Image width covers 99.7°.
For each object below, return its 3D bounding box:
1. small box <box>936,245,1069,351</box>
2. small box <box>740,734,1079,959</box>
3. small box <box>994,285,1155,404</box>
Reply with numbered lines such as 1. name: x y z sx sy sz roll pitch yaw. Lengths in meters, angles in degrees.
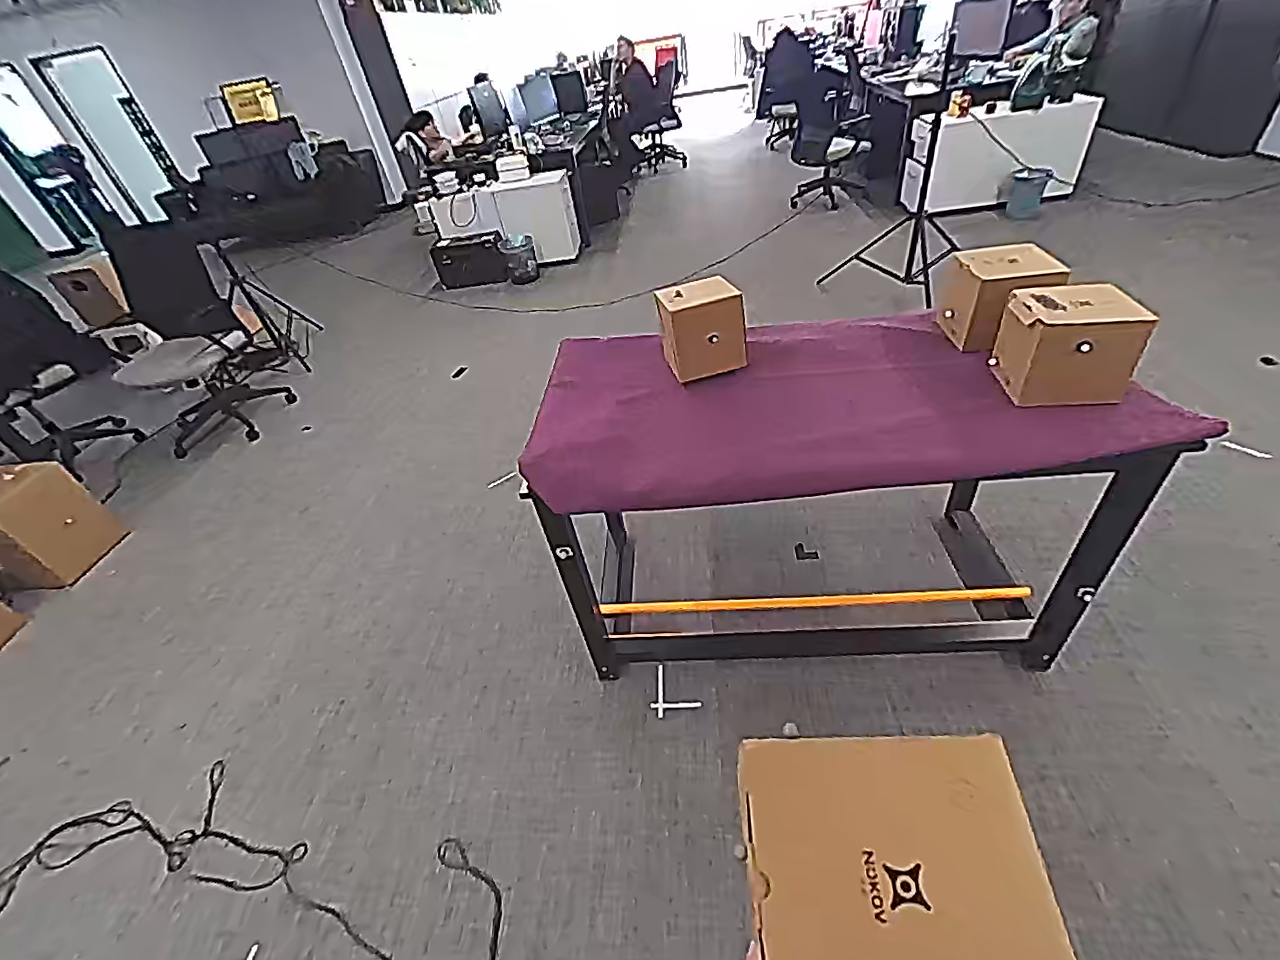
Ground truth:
1. small box: 0.801 -0.408 1.218 0.179 0.176 0.168 -4 41 7
2. small box: 0.170 0.287 0.396 0.179 0.176 0.168 -6 57 7
3. small box: 0.810 -0.257 1.037 0.179 0.176 0.168 0 40 12
